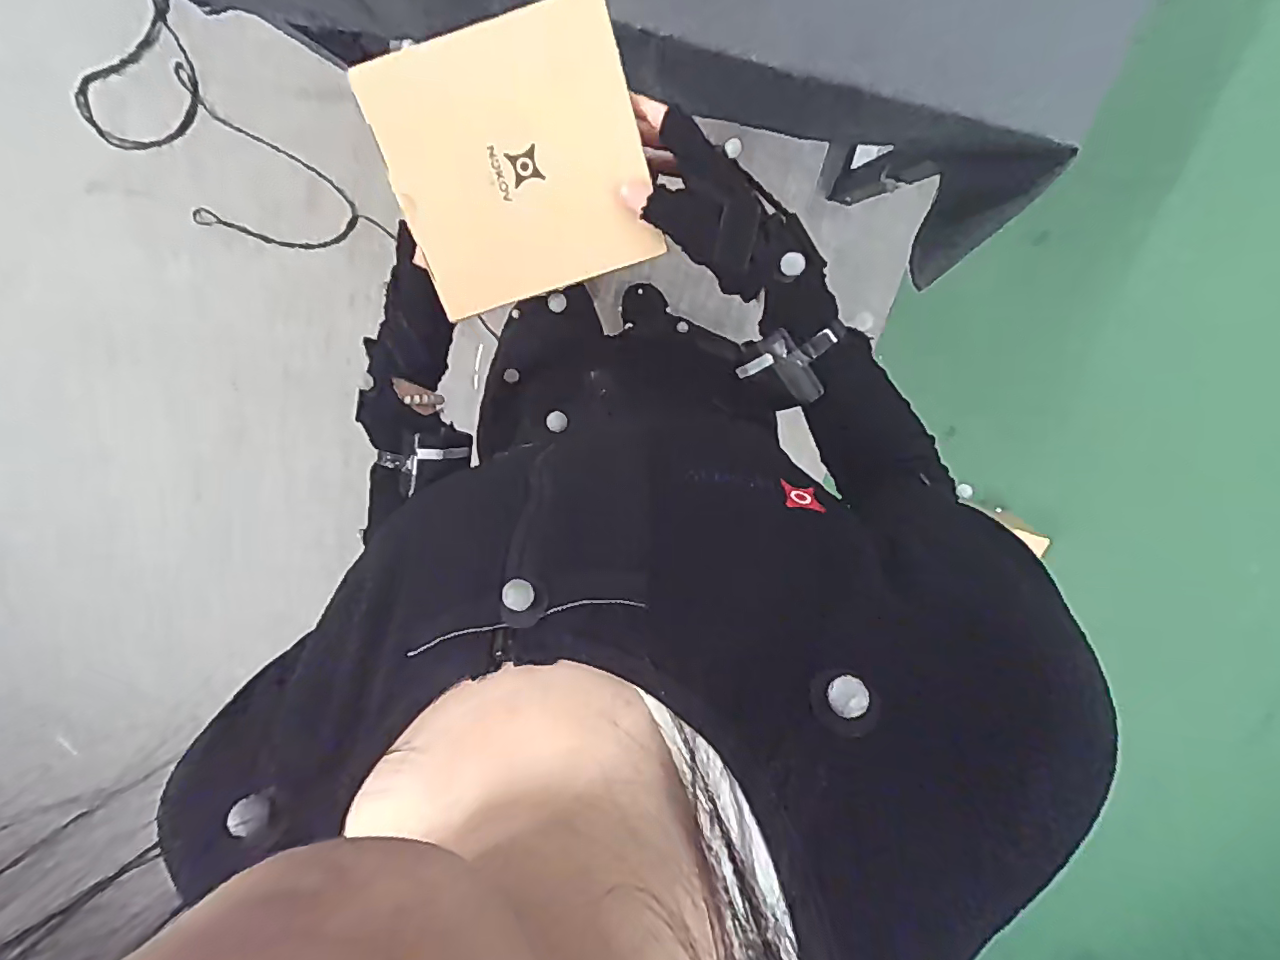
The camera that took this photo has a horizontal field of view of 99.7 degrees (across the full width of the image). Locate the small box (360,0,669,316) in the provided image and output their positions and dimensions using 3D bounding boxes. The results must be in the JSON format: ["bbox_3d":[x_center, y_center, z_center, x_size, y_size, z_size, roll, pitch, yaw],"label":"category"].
[{"bbox_3d":[-0.086,-0.248,0.452,0.179,0.176,0.168,-15,111,3],"label":"small box"}]
